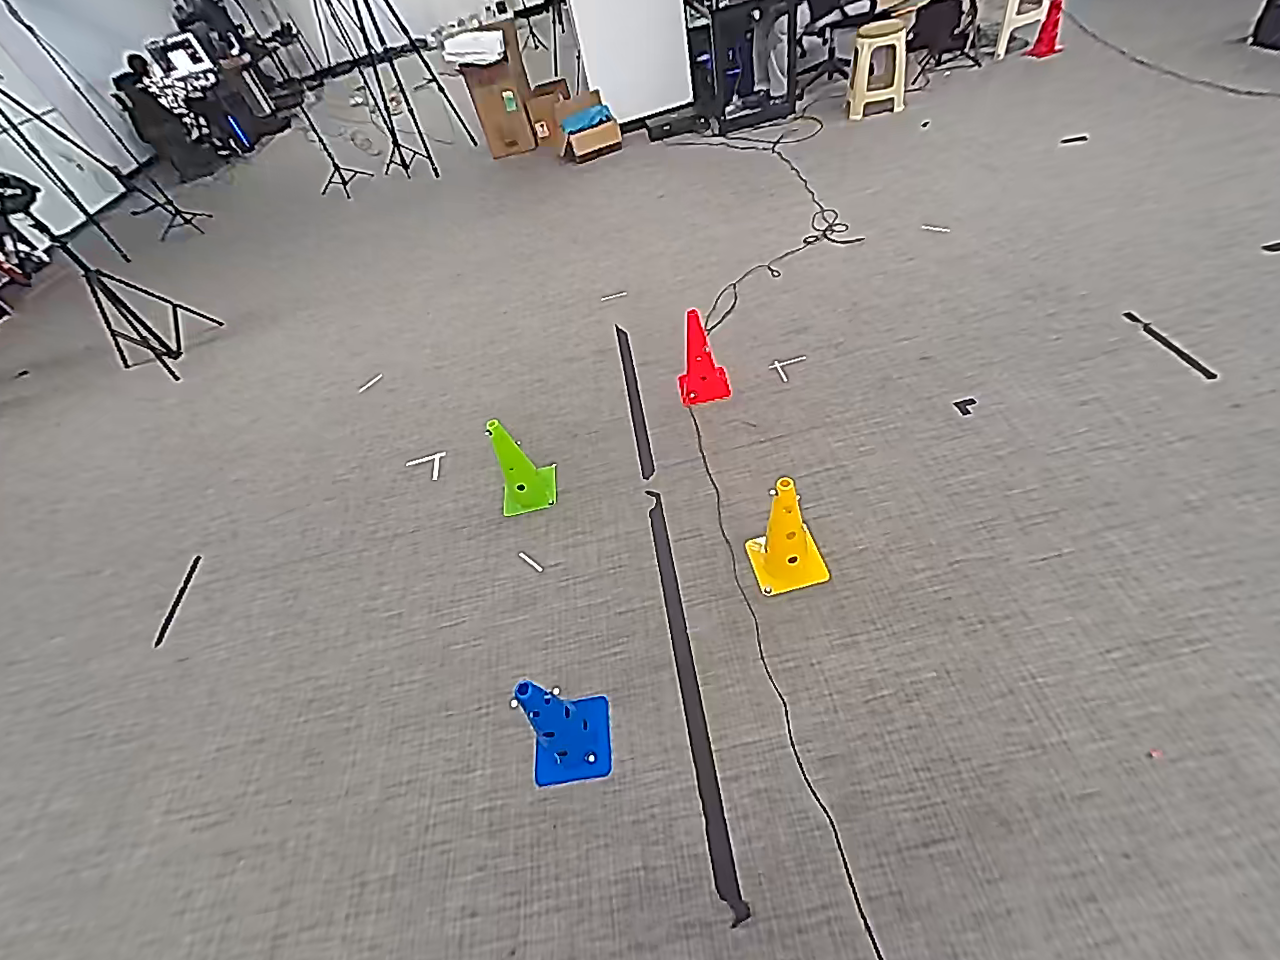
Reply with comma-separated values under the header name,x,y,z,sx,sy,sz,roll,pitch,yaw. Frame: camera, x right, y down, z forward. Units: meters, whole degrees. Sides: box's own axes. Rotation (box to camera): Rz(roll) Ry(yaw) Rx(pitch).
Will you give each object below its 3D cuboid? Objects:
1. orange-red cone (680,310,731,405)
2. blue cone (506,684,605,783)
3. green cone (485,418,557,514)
name,x,y,z,sx,sy,sz,roll,pitch,yaw
orange-red cone,0.231,-0.493,2.079,0.199,0.360,0.198,-9,49,6
blue cone,-0.219,0.568,1.285,0.192,0.380,0.193,-11,47,7
green cone,-0.446,-0.078,1.899,0.202,0.368,0.200,-14,47,5
